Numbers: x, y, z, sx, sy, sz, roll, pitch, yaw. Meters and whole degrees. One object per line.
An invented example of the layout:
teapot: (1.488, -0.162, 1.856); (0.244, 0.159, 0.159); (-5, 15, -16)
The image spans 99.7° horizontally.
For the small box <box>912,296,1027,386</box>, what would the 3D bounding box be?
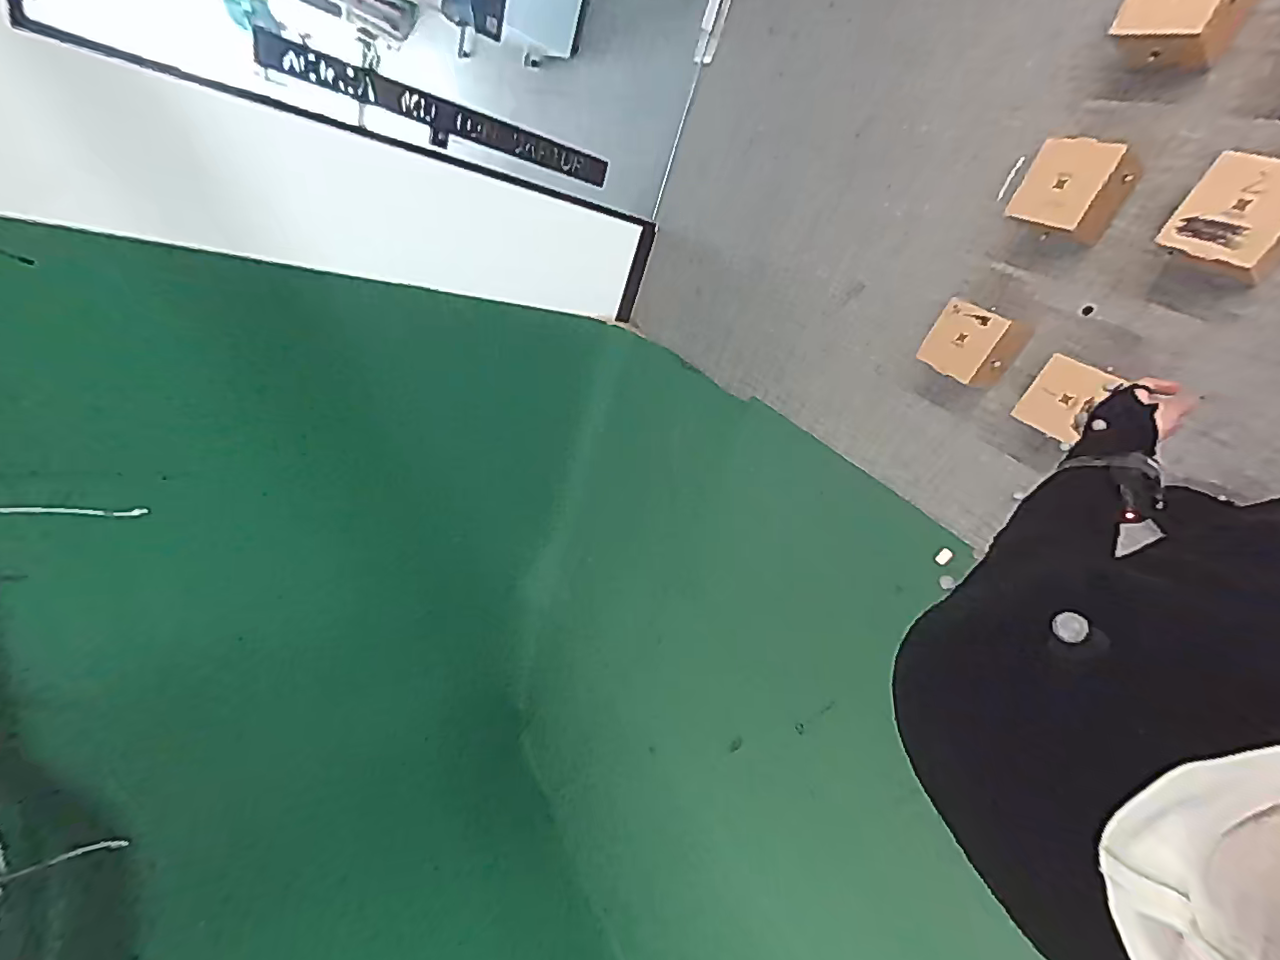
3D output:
small box: (0.879, -0.363, 1.438); (0.168, 0.176, 0.179); (50, 129, 38)

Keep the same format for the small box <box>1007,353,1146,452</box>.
small box: (1.021, -0.180, 1.264); (0.179, 0.176, 0.168); (49, 128, 40)

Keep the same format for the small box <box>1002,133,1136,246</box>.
small box: (1.004, -0.673, 1.262); (0.168, 0.176, 0.179); (47, 127, 40)

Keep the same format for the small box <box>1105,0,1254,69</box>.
small box: (1.115, -0.973, 1.103); (0.168, 0.176, 0.179); (45, 125, 40)
